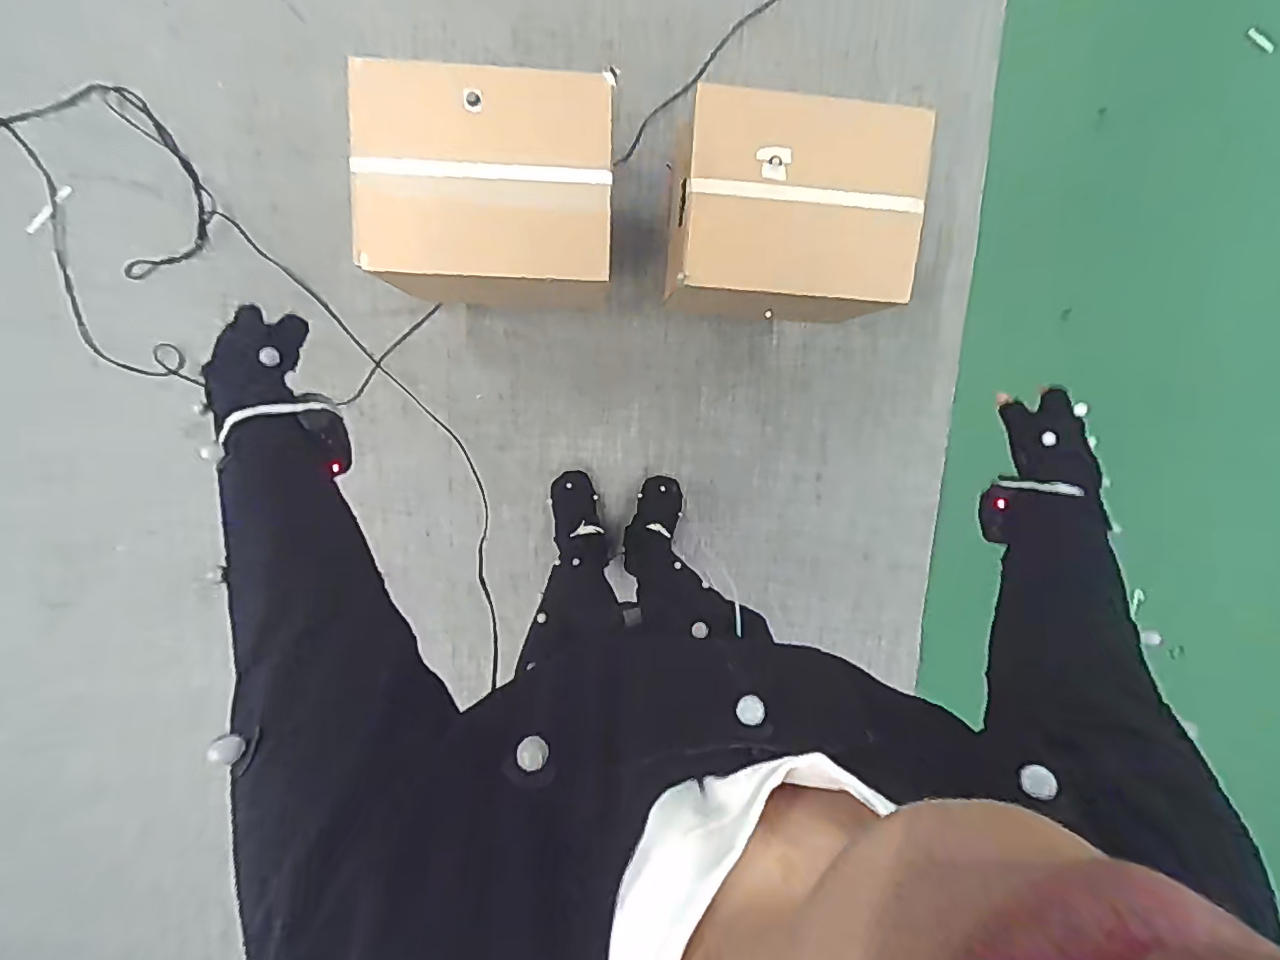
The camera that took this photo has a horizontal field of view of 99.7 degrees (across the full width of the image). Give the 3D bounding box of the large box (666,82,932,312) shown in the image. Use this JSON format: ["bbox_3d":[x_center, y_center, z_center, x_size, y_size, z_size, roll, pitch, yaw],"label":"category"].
[{"bbox_3d":[0.274,-0.513,1.057,0.408,0.320,0.320,3,100,-4],"label":"large box"}]
